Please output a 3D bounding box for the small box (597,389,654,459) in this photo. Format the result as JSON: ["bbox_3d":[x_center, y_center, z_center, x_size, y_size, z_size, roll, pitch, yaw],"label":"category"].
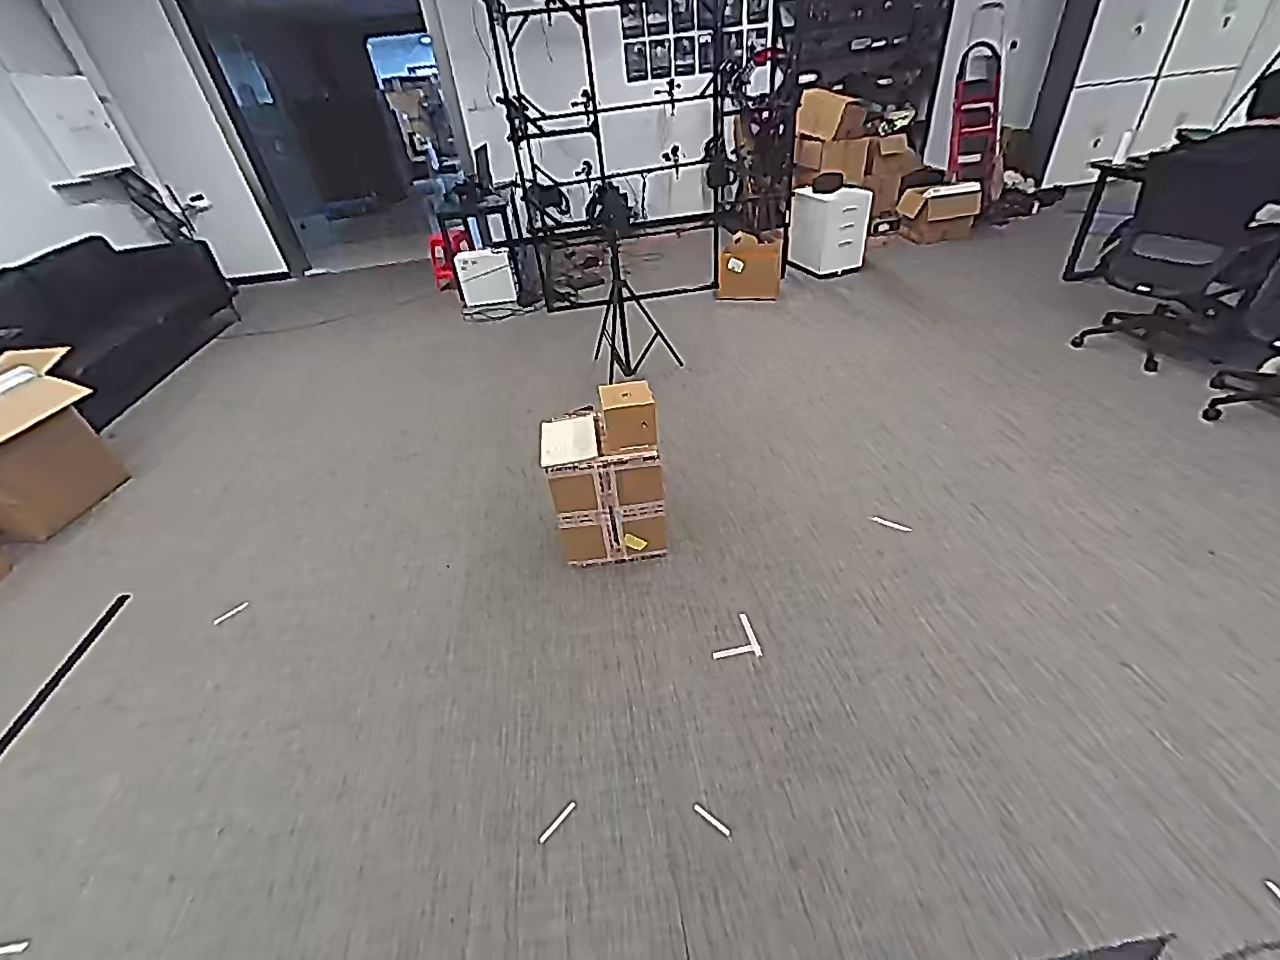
[{"bbox_3d":[-0.048,-0.192,1.873,0.179,0.176,0.168,-9,39,-5],"label":"small box"}]
